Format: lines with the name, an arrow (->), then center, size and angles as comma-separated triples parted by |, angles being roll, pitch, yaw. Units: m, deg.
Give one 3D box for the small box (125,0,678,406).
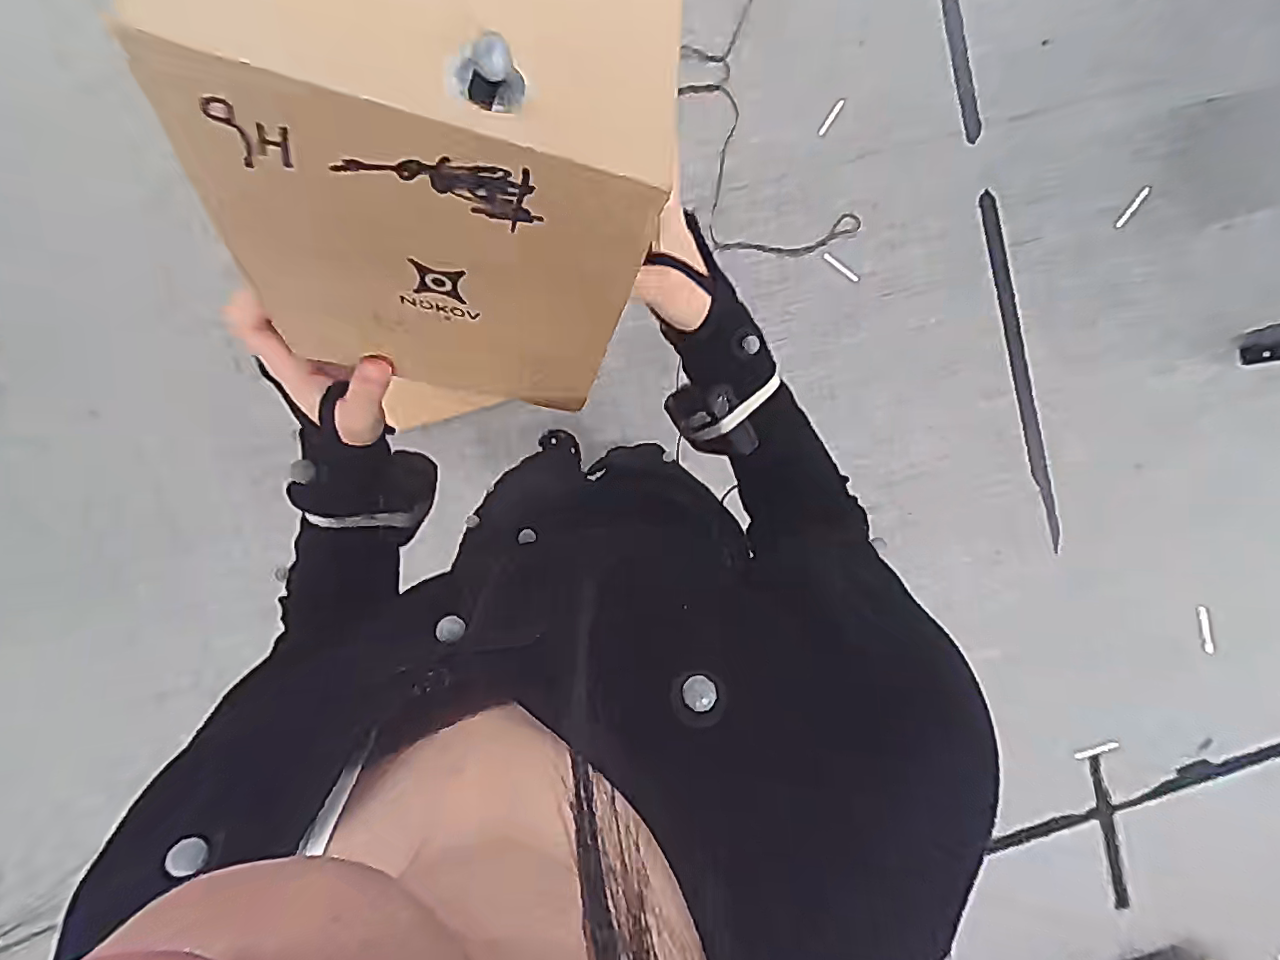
small box -> -0.082, -0.164, 0.271 | 0.168, 0.179, 0.176 | 9, 68, -14
